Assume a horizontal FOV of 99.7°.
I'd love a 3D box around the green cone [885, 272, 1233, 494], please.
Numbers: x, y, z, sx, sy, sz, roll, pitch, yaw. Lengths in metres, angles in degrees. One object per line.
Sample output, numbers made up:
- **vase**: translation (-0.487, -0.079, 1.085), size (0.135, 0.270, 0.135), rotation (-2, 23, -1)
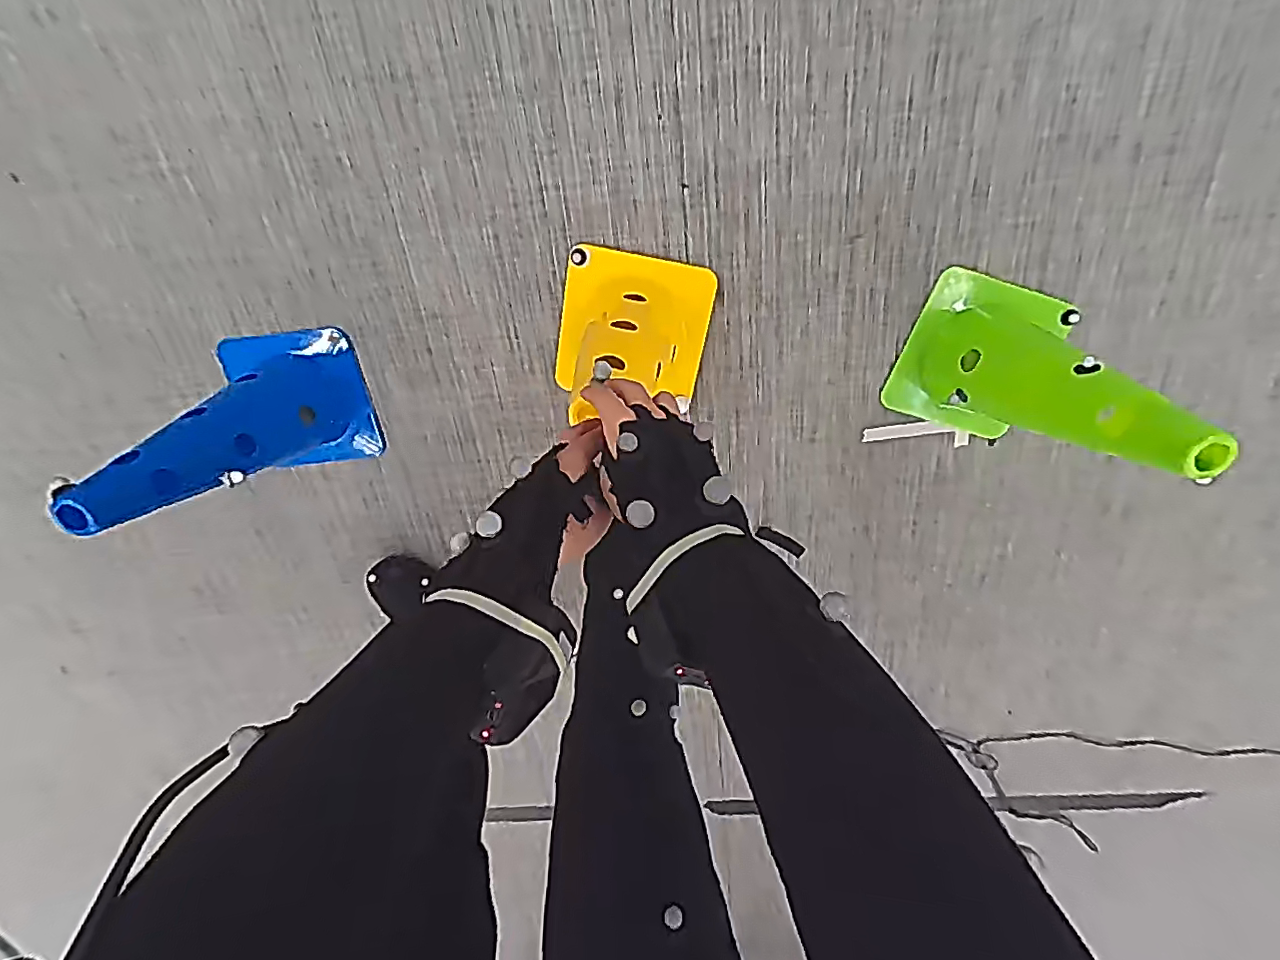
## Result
- **green cone**: translation (0.458, -0.088, 0.590), size (0.200, 0.368, 0.202), rotation (15, 116, -5)
